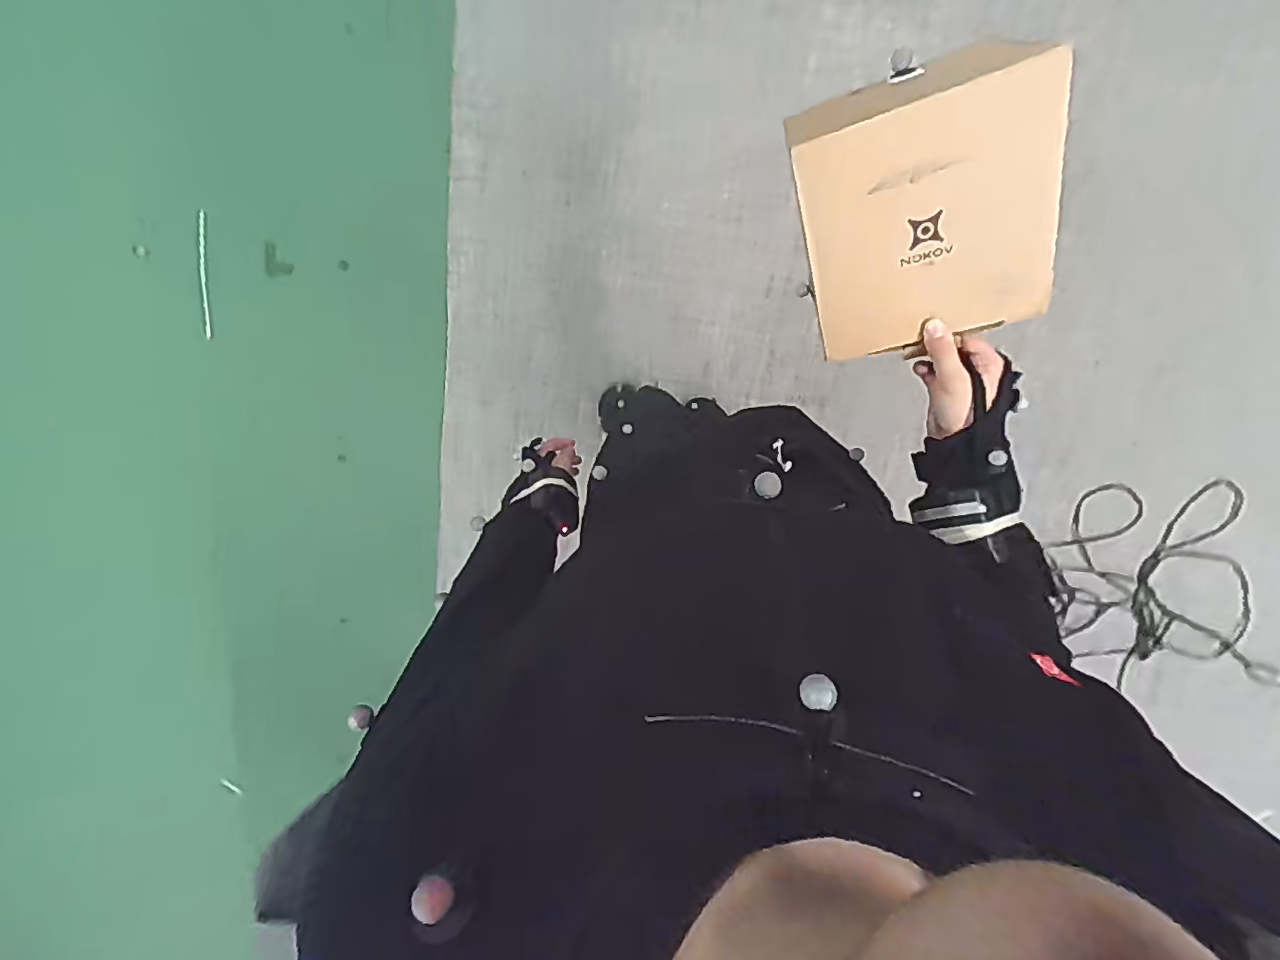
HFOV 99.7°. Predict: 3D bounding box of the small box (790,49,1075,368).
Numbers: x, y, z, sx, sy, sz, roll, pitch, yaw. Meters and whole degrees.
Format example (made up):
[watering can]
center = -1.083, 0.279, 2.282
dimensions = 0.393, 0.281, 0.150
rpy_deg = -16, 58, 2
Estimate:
[small box]
center = 0.225, -0.225, 0.453
dimensions = 0.168, 0.176, 0.179
rpy_deg = -11, 125, 21
